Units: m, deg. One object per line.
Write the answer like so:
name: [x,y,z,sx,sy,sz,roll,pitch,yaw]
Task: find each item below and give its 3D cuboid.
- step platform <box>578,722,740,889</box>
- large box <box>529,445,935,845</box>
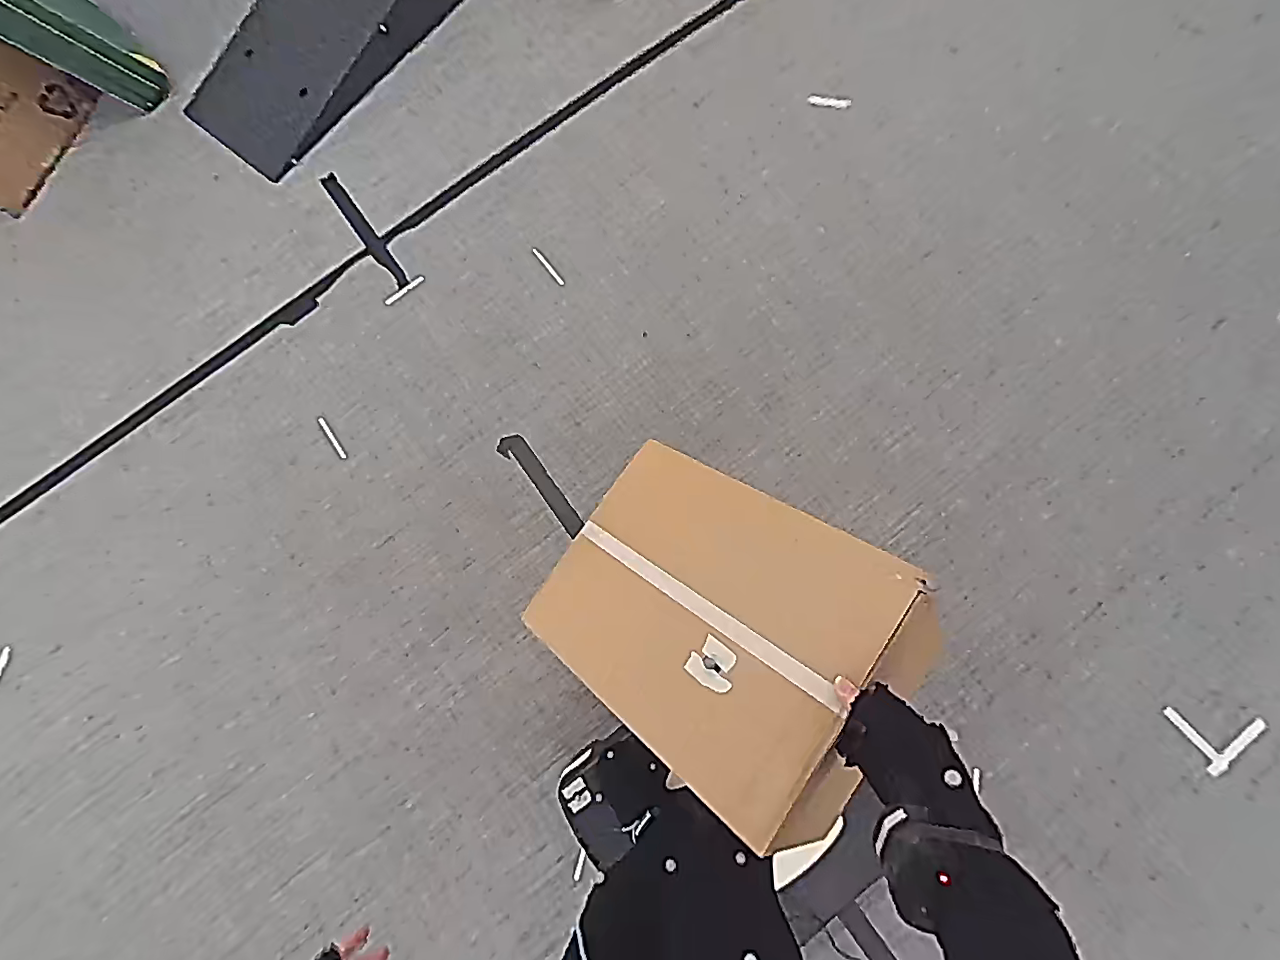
step platform: [0.194,0.557,1.220,0.684,0.204,0.286,-38,77,-5]
large box: [0.134,0.207,0.753,0.408,0.320,0.320,28,81,37]
